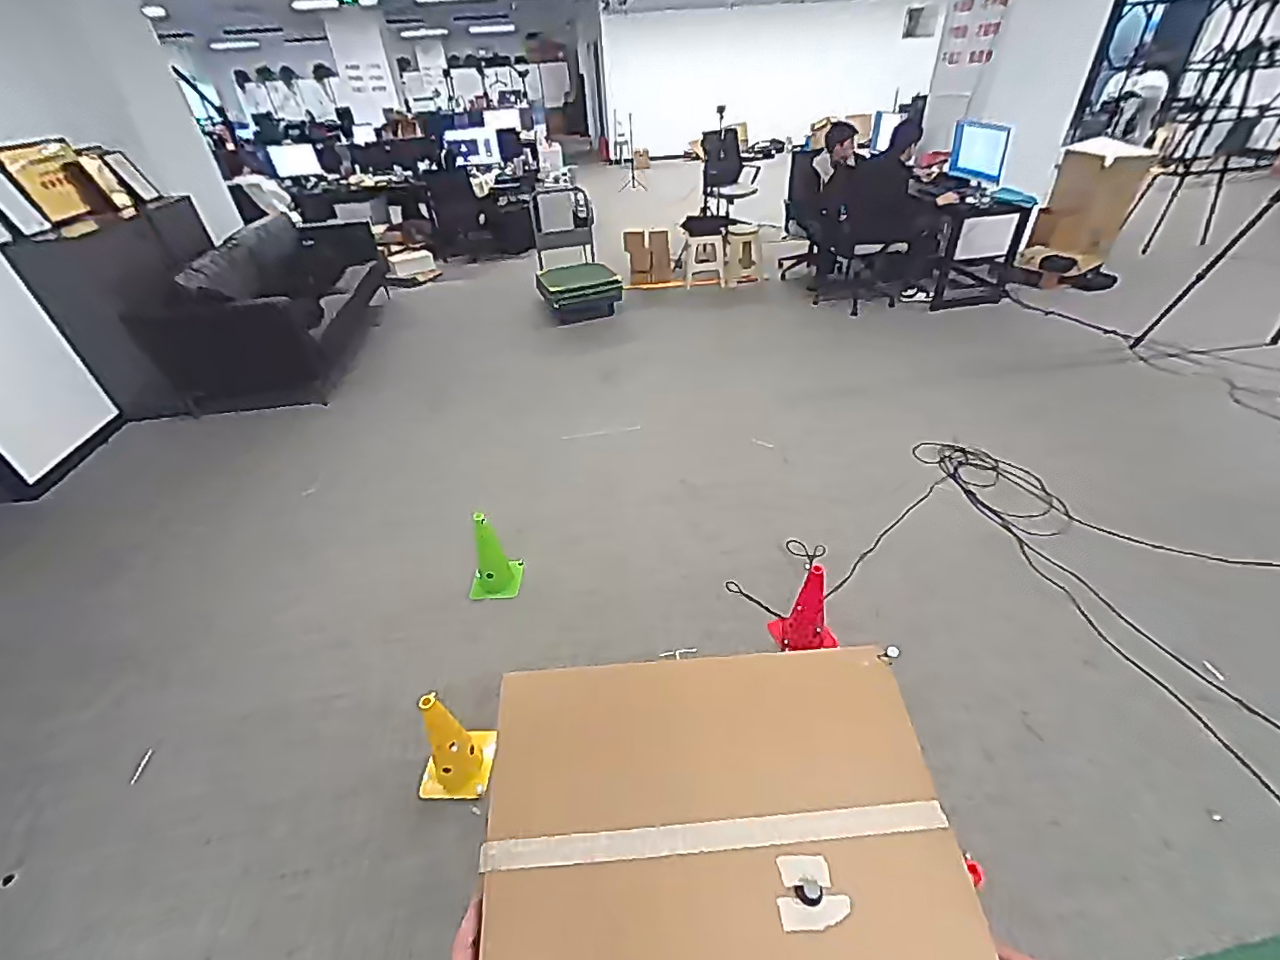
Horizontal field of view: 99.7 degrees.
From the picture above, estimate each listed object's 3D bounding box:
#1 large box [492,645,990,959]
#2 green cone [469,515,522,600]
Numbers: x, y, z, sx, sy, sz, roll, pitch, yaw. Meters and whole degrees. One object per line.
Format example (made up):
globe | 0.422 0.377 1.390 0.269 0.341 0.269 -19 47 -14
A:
large box | 0.071 0.407 0.600 0.408 0.320 0.320 -4 52 -3
green cone | -0.610 0.283 2.147 0.200 0.368 0.202 -4 39 0
